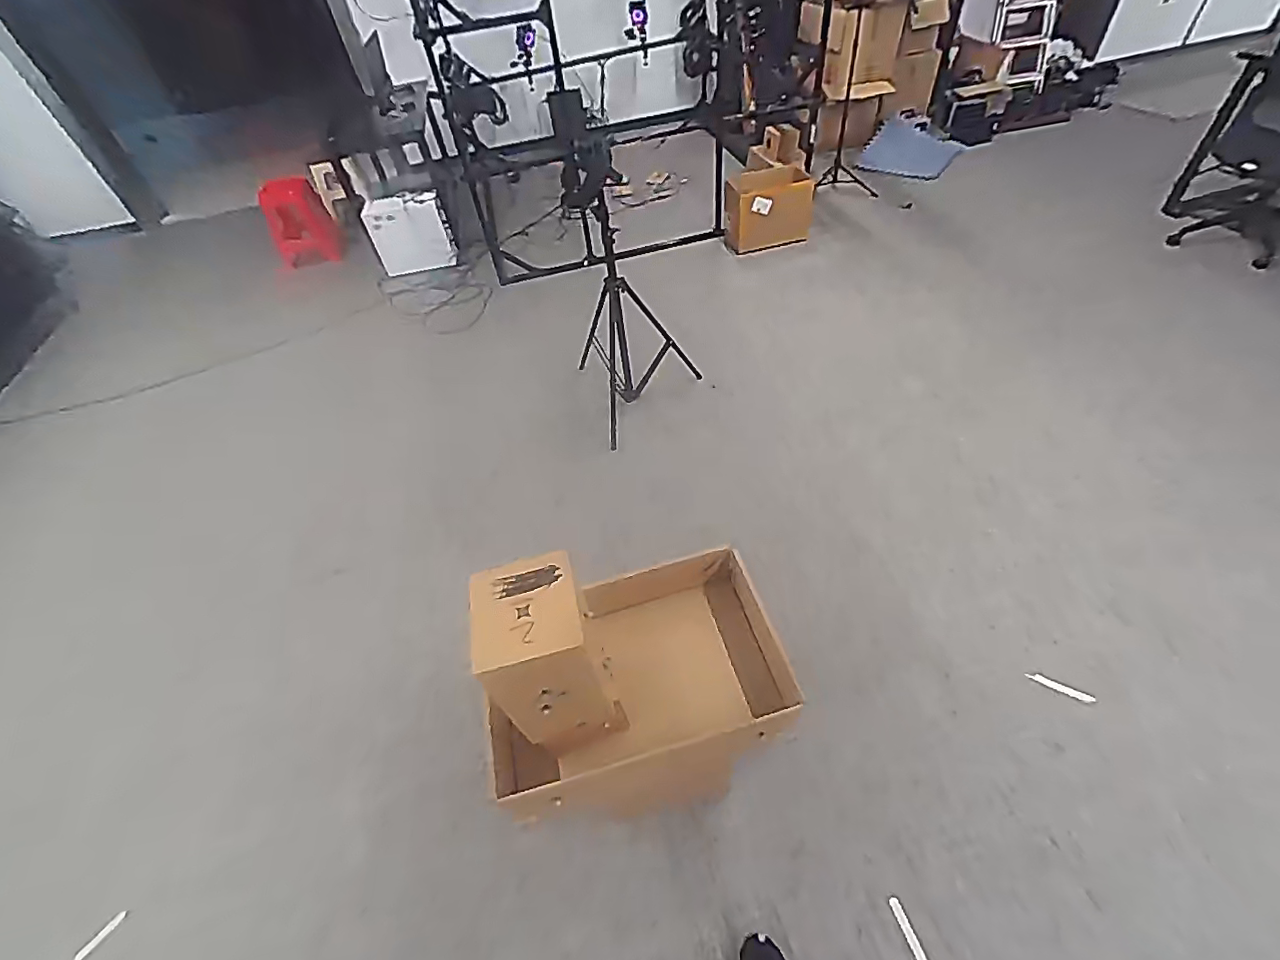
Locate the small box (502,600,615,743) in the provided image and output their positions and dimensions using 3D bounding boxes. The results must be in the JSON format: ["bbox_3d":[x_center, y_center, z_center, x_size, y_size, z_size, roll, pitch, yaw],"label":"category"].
[{"bbox_3d":[-0.152,0.359,1.011,0.168,0.176,0.179,-15,47,-4],"label":"small box"}]

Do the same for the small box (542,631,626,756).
[{"bbox_3d":[-0.136,0.453,1.144,0.179,0.176,0.168,-19,48,-8],"label":"small box"}]
